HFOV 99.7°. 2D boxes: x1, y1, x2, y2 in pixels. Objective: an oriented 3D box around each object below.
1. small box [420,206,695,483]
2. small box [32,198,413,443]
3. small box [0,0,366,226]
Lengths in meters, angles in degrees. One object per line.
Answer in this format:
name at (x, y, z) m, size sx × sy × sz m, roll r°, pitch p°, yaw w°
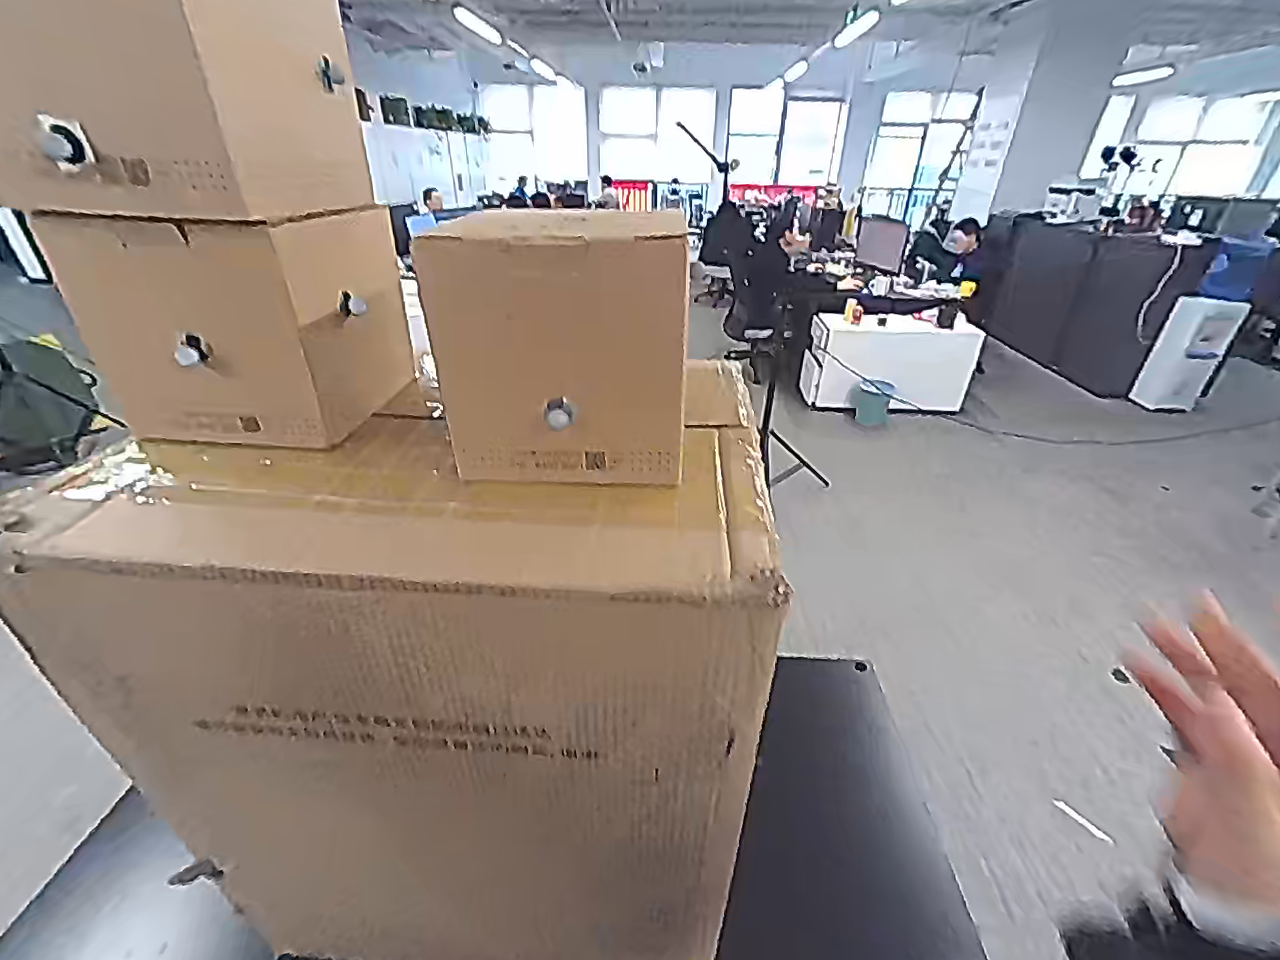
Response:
small box at (-0.044, -0.114, 0.422) m, size 0.168 × 0.176 × 0.179 m, roll 1°, pitch 31°, yaw 3°
small box at (-0.315, -0.142, 0.462) m, size 0.168 × 0.176 × 0.179 m, roll 3°, pitch 31°, yaw 1°
small box at (-0.312, -0.276, 0.368) m, size 0.168 × 0.176 × 0.179 m, roll 1°, pitch 31°, yaw 1°
